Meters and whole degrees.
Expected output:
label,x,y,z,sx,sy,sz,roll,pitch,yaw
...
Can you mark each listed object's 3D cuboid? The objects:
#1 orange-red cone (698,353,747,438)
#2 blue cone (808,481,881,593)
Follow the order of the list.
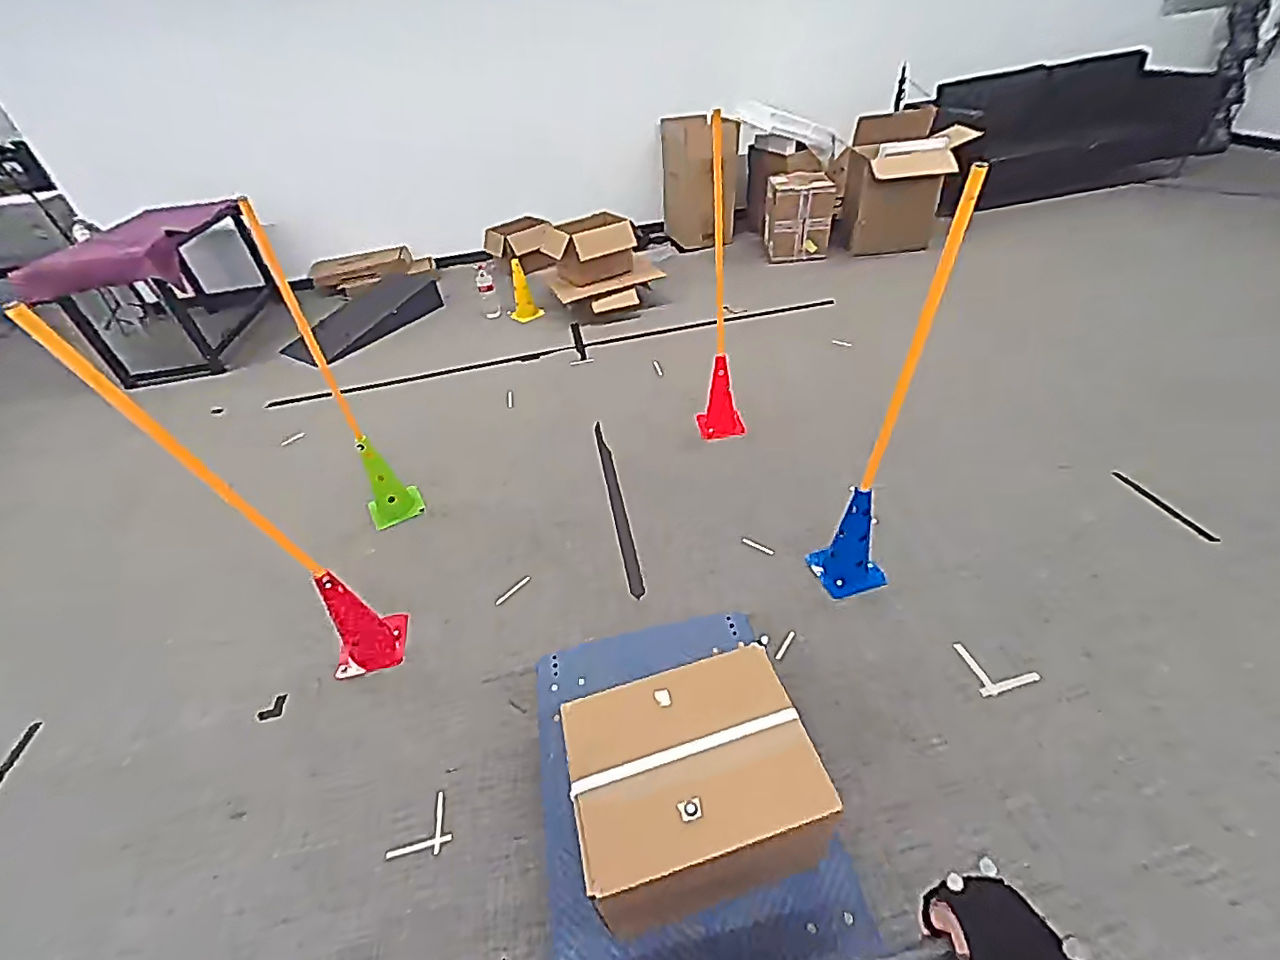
label,x,y,z,sx,sy,sz,roll,pitch,yaw
orange-red cone,0.359,-0.386,2.350,0.199,0.360,0.198,-6,41,-1
blue cone,0.664,0.163,1.690,0.193,0.380,0.192,-14,40,-9
